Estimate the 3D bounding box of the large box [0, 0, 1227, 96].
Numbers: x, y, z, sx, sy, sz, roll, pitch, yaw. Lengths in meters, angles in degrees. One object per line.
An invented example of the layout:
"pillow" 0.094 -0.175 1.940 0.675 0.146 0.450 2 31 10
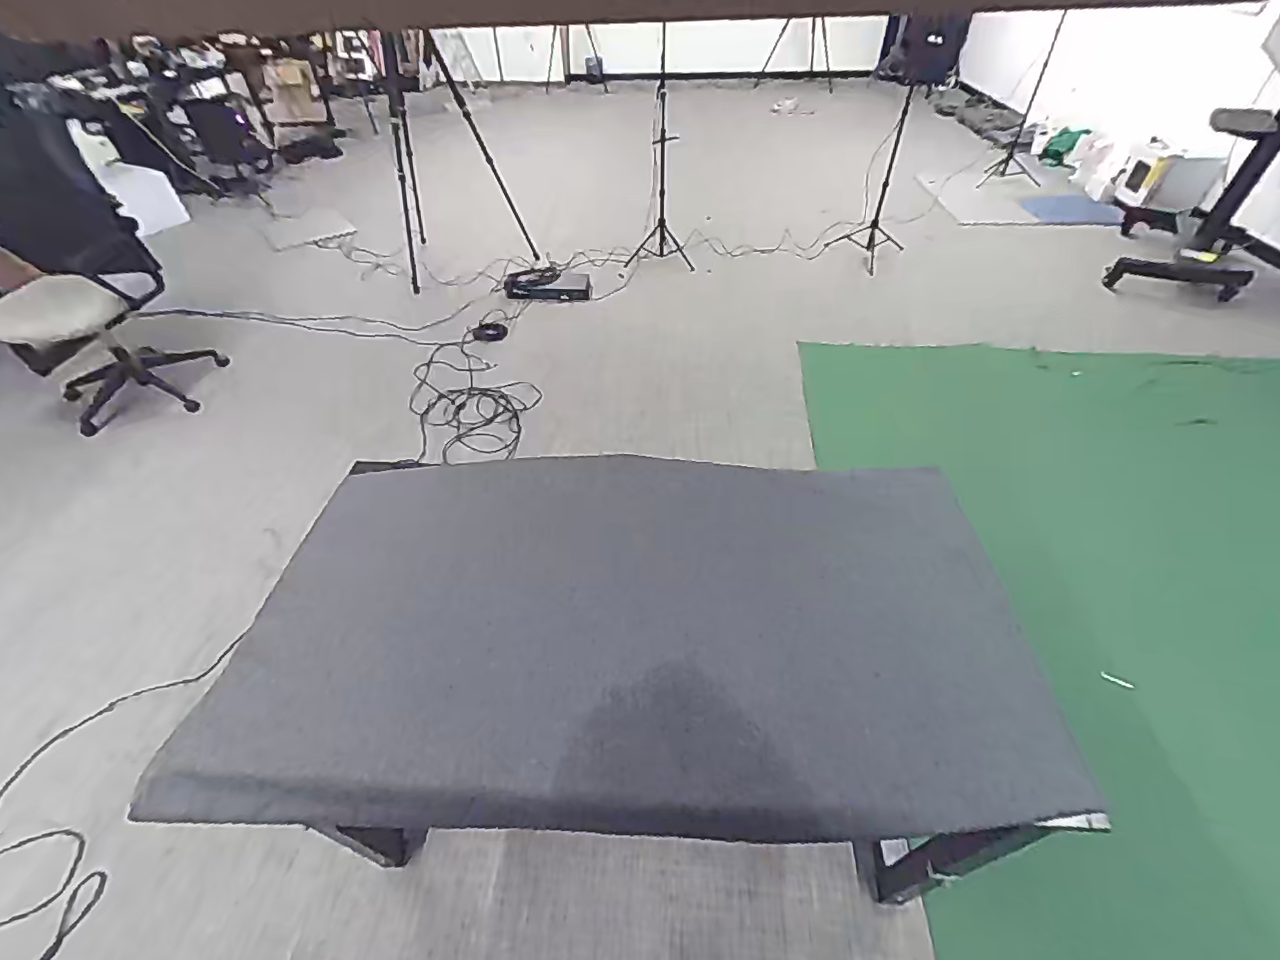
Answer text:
"large box" -0.021 -0.305 0.056 0.408 0.320 0.320 -1 85 2
